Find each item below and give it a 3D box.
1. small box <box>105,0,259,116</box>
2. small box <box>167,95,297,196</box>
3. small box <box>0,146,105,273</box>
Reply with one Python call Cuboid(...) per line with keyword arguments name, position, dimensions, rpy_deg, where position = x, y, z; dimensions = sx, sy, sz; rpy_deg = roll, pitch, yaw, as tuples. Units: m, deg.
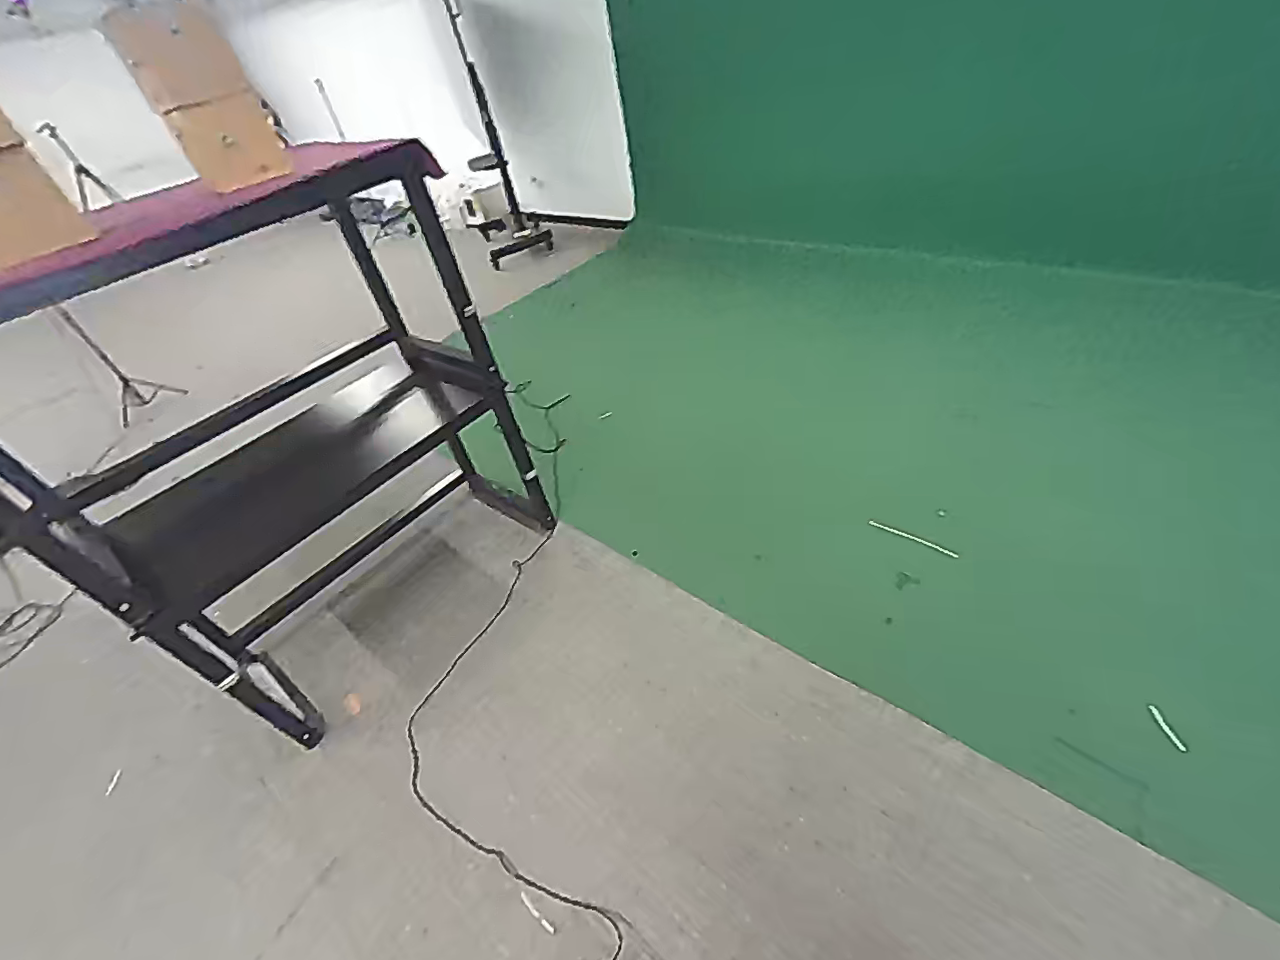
Cuboid(name="small box", position=(-0.983, -0.904, 1.170), dimensions=(0.168, 0.176, 0.179), rpy_deg=(23, 52, 34))
Cuboid(name="small box", position=(-0.958, -0.787, 1.283), dimensions=(0.179, 0.176, 0.168), rpy_deg=(25, 54, 37))
Cuboid(name="small box", position=(-1.188, -0.506, 1.018), dimensions=(0.168, 0.176, 0.179), rpy_deg=(19, 50, 31))
